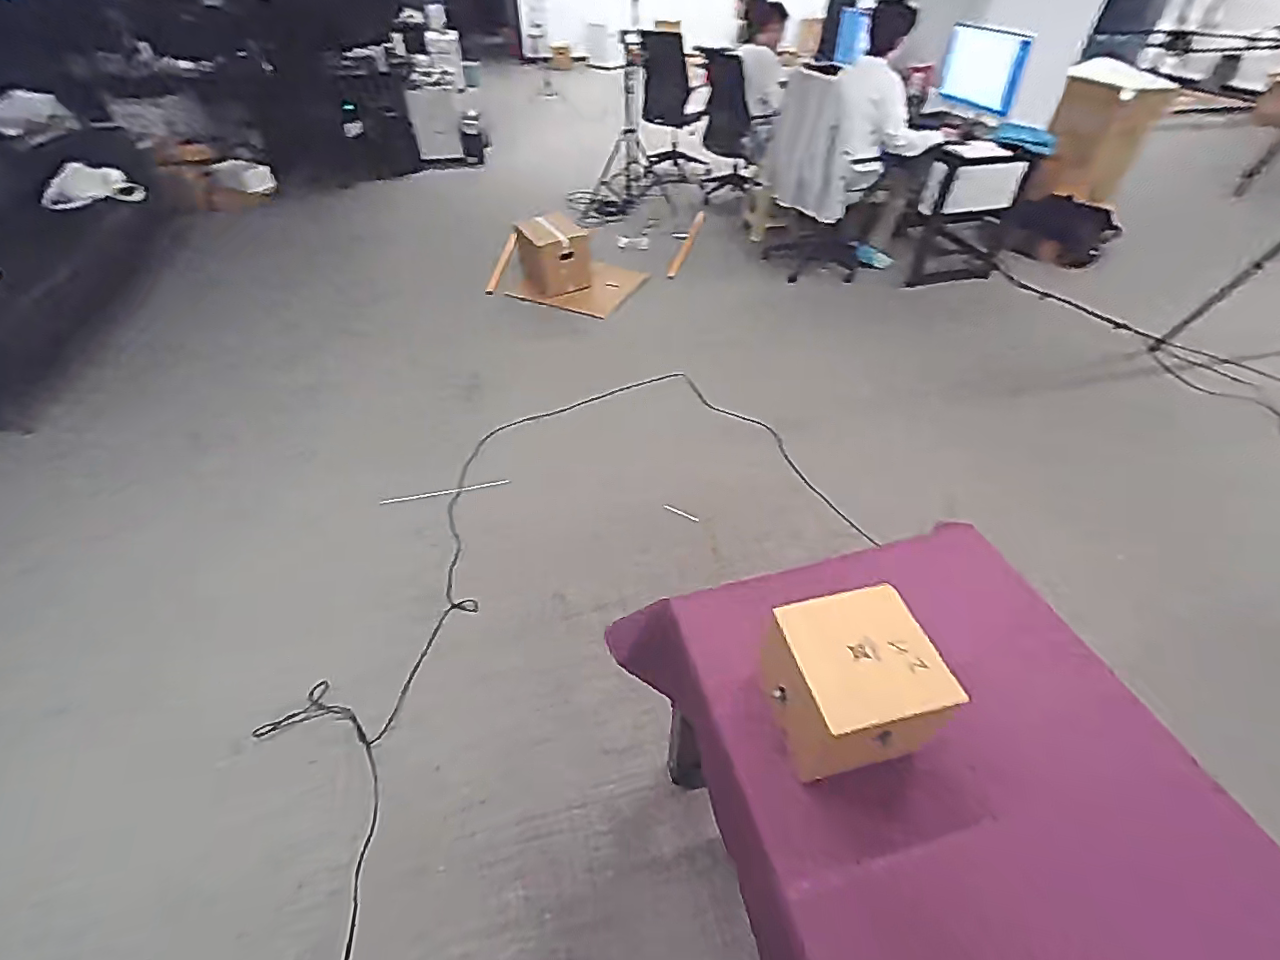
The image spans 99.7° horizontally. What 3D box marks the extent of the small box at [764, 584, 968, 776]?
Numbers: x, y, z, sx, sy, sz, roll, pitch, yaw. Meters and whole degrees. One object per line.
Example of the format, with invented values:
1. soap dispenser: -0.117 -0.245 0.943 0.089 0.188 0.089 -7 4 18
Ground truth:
1. small box: 0.275 0.265 0.712 0.179 0.176 0.168 -9 46 -9
